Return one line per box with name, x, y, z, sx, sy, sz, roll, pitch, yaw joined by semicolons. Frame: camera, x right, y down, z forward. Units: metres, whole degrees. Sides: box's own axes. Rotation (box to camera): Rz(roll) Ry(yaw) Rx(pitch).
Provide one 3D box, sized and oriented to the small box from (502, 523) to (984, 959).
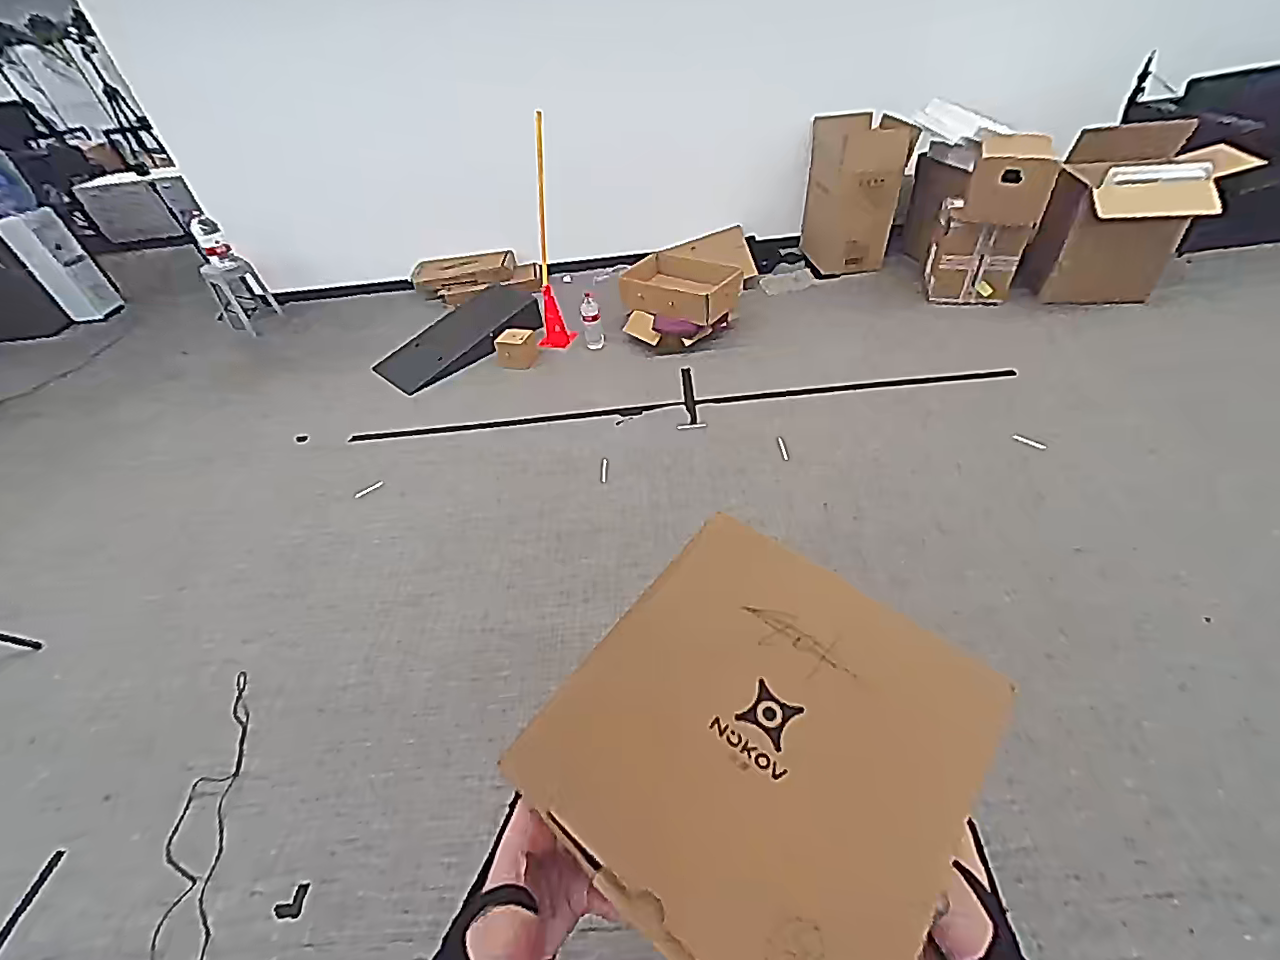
small box;0.054;0.166;0.313;0.168;0.176;0.179;30;56;23
